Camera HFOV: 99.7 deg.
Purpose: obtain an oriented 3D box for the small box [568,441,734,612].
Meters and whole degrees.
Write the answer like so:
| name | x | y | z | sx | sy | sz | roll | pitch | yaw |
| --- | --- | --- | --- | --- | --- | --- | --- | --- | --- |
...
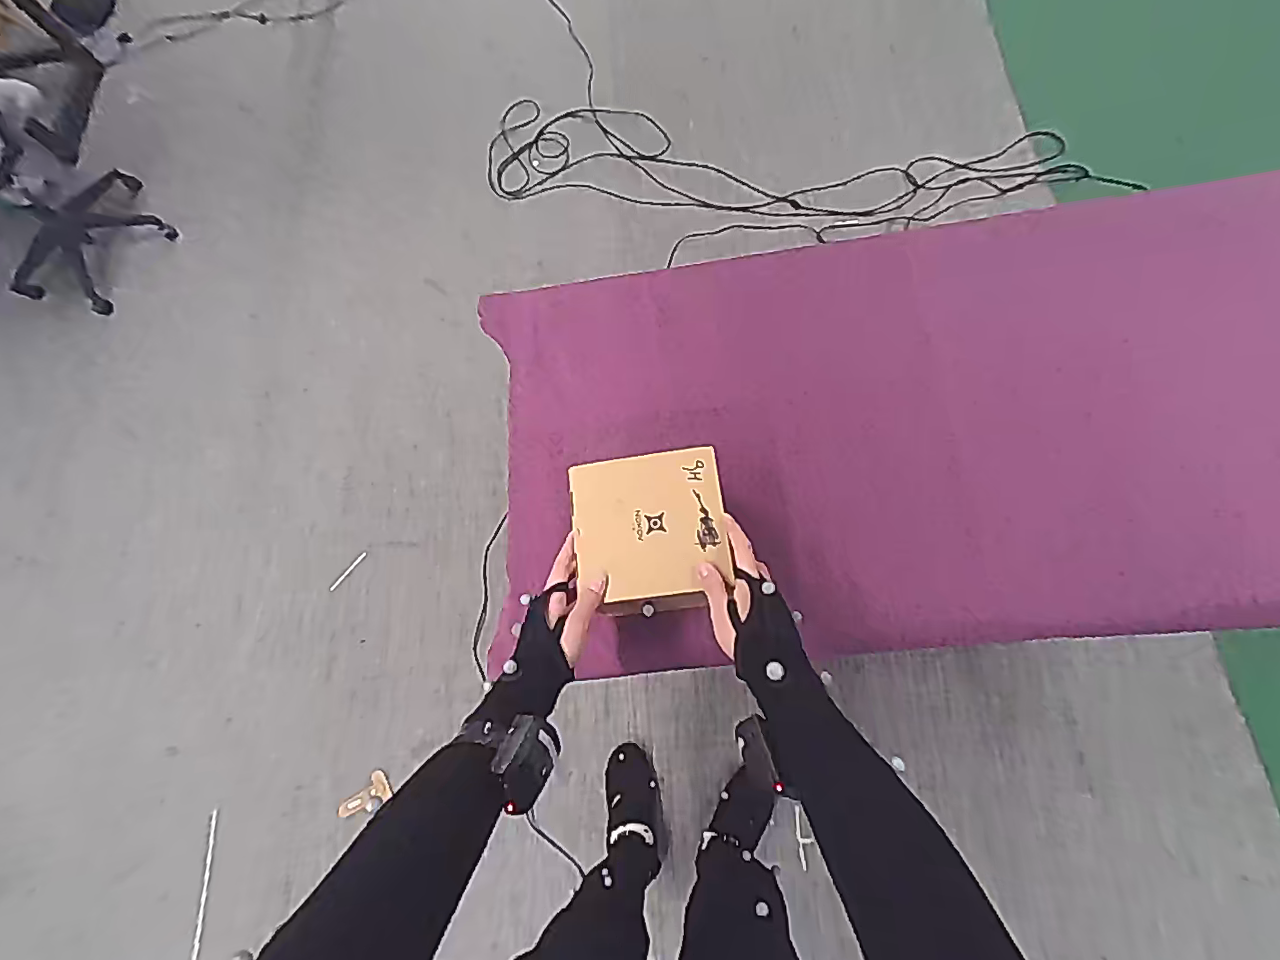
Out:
| name | x | y | z | sx | sy | sz | roll | pitch | yaw |
| --- | --- | --- | --- | --- | --- | --- | --- | --- | --- |
| small box | 0.020 | 0.068 | 0.674 | 0.179 | 0.176 | 0.168 | -8 | 71 | 6 |

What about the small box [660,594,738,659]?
| name | x | y | z | sx | sy | sz | roll | pitch | yaw |
| --- | --- | --- | --- | --- | --- | --- | --- | --- | --- |
| small box | 0.143 | 0.337 | 1.341 | 0.168 | 0.176 | 0.179 | -14 | 71 | 4 |
